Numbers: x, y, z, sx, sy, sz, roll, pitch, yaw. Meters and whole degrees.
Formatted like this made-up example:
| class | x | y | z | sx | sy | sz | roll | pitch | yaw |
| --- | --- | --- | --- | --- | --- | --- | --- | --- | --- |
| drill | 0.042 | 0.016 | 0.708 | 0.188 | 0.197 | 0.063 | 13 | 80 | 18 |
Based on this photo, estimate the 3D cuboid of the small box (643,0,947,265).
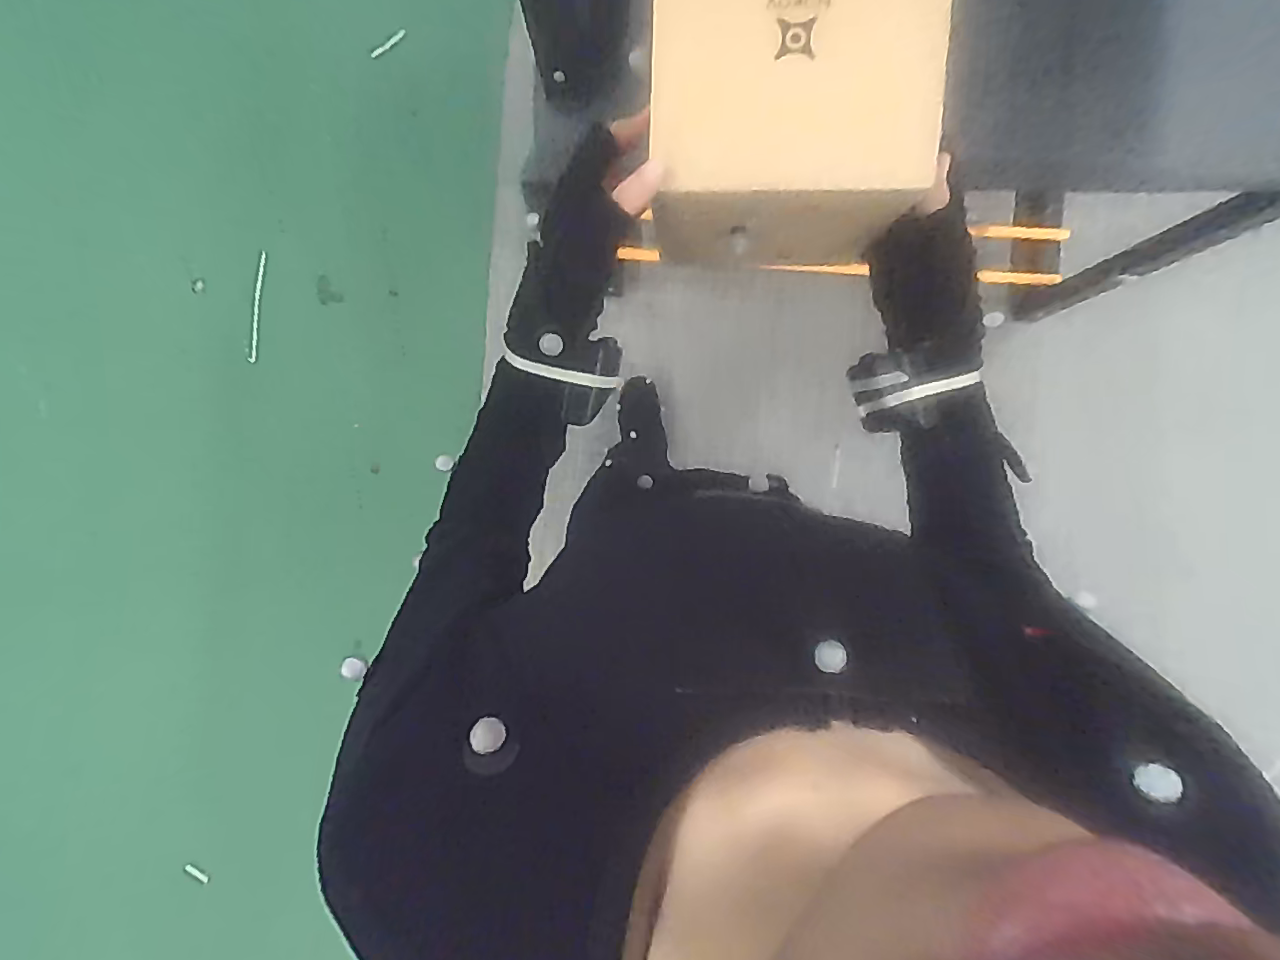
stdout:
| class | x | y | z | sx | sy | sz | roll | pitch | yaw |
| --- | --- | --- | --- | --- | --- | --- | --- | --- | --- |
| small box | 0.094 | -0.261 | 0.382 | 0.168 | 0.176 | 0.179 | 2 | 95 | 5 |
